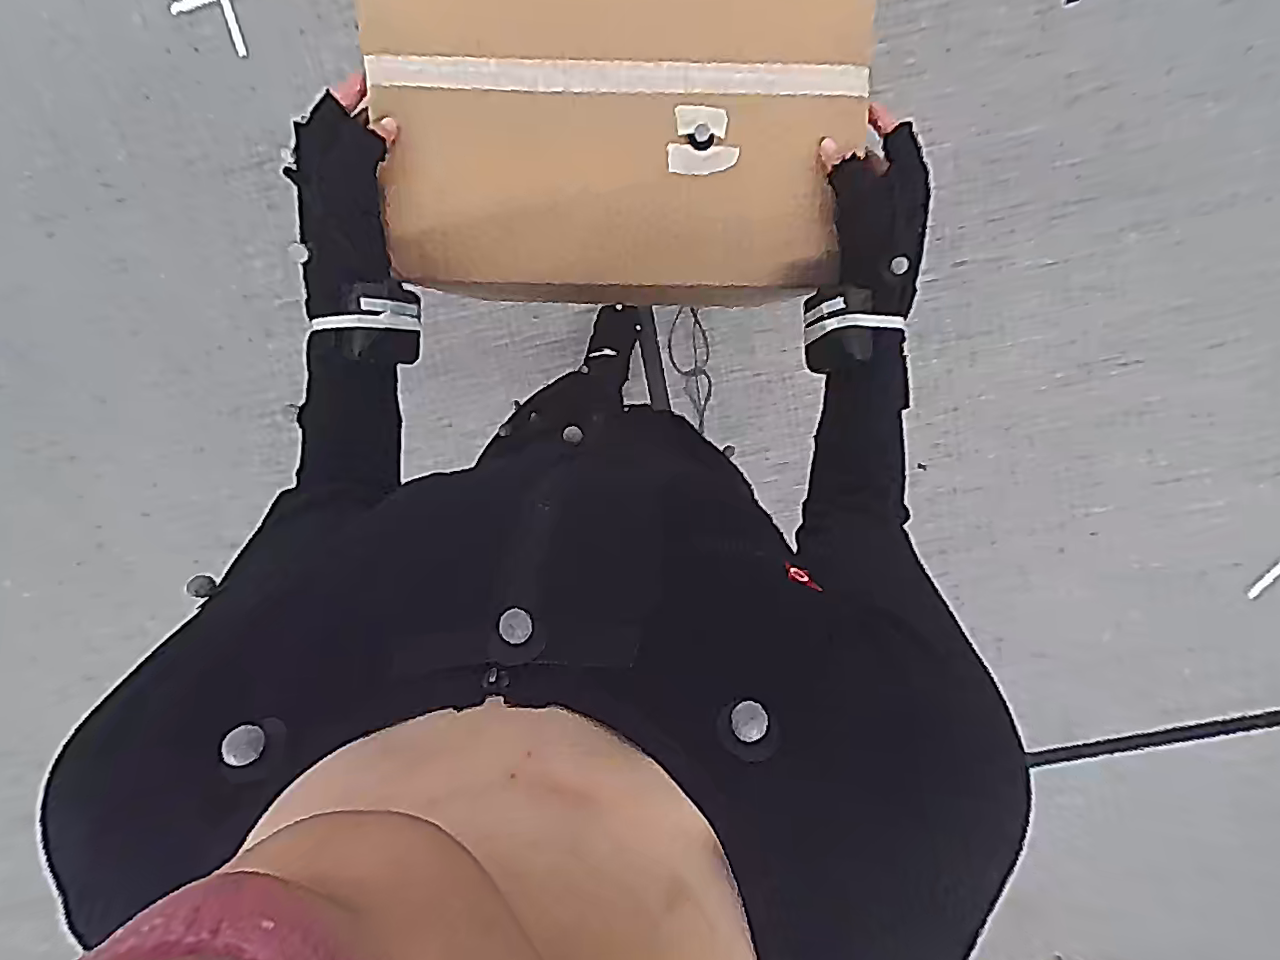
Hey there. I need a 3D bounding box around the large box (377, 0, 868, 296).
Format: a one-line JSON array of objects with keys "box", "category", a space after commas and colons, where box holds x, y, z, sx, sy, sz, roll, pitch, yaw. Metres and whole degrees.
[{"box": [-0.019, -0.376, 0.592, 0.408, 0.320, 0.320, 1, 105, -2], "category": "large box"}]
